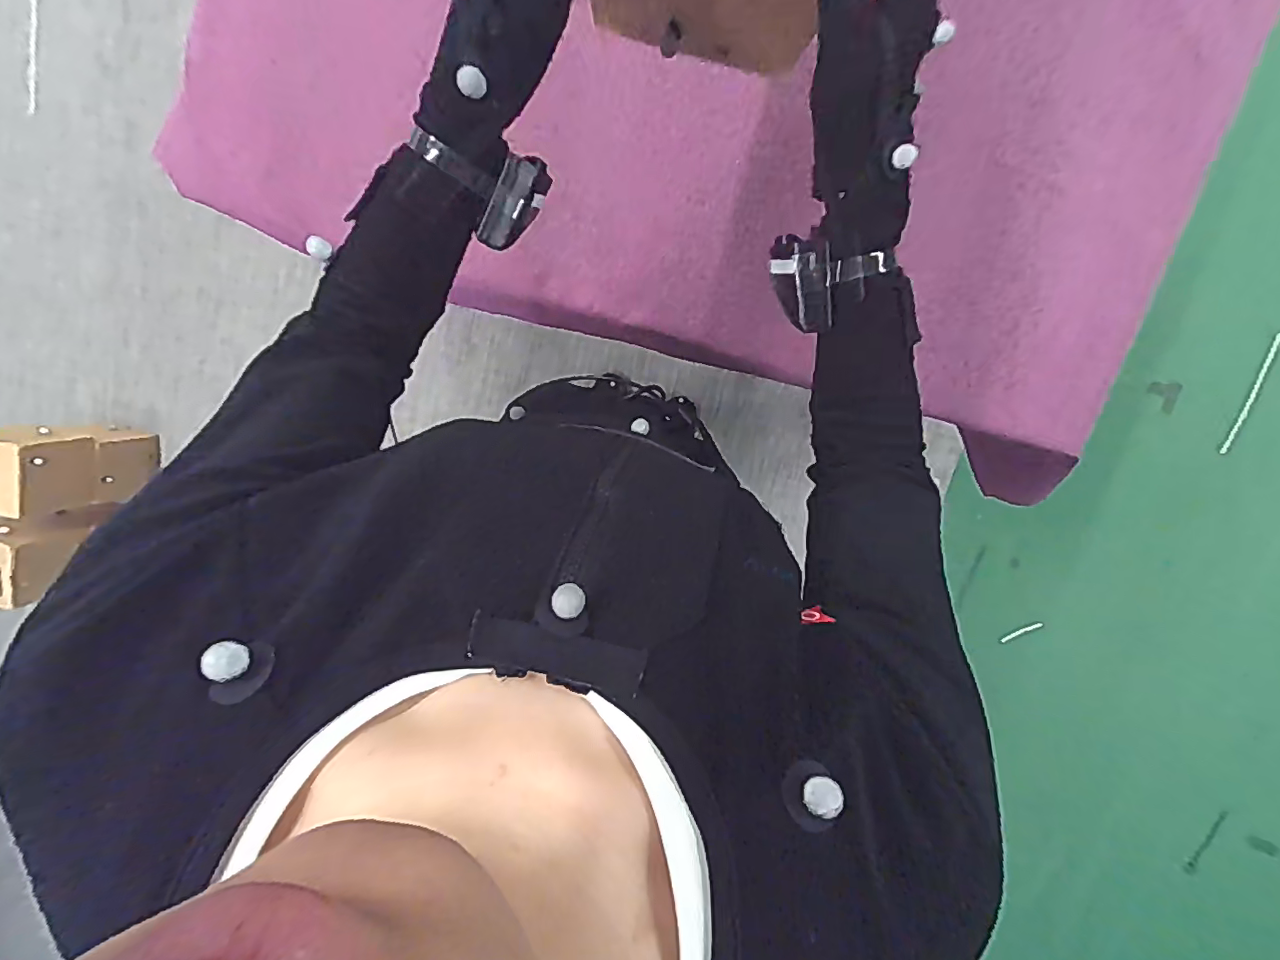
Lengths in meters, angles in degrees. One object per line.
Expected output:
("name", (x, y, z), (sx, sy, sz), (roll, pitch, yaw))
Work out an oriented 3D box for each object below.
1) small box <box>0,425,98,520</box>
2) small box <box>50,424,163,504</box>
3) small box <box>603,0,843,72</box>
("small box", (-1.445, -0.024, 1.281), (0.168, 0.176, 0.179), (12, 101, -1))
("small box", (-1.435, -0.050, 1.442), (0.179, 0.176, 0.168), (13, 102, 0))
("small box", (0.063, -0.397, 0.329), (0.168, 0.176, 0.179), (12, 110, -3))
